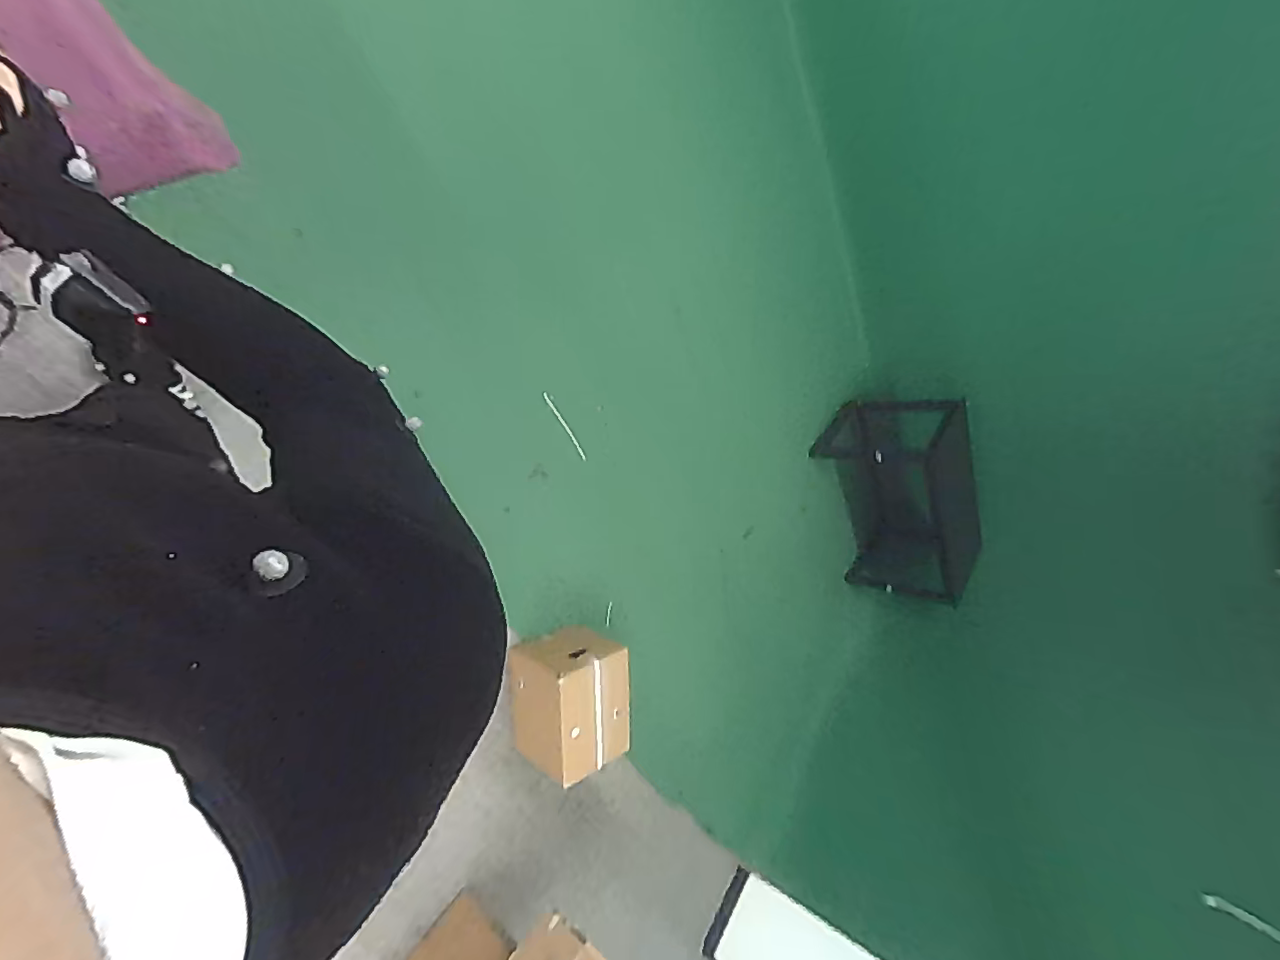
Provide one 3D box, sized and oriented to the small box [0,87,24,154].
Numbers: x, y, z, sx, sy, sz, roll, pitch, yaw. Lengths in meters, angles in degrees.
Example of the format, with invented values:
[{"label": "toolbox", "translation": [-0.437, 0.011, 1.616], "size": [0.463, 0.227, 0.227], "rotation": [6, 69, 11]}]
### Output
[{"label": "small box", "translation": [-0.623, -0.362, 0.395], "size": [0.168, 0.176, 0.179], "rotation": [-25, 114, -33]}]
